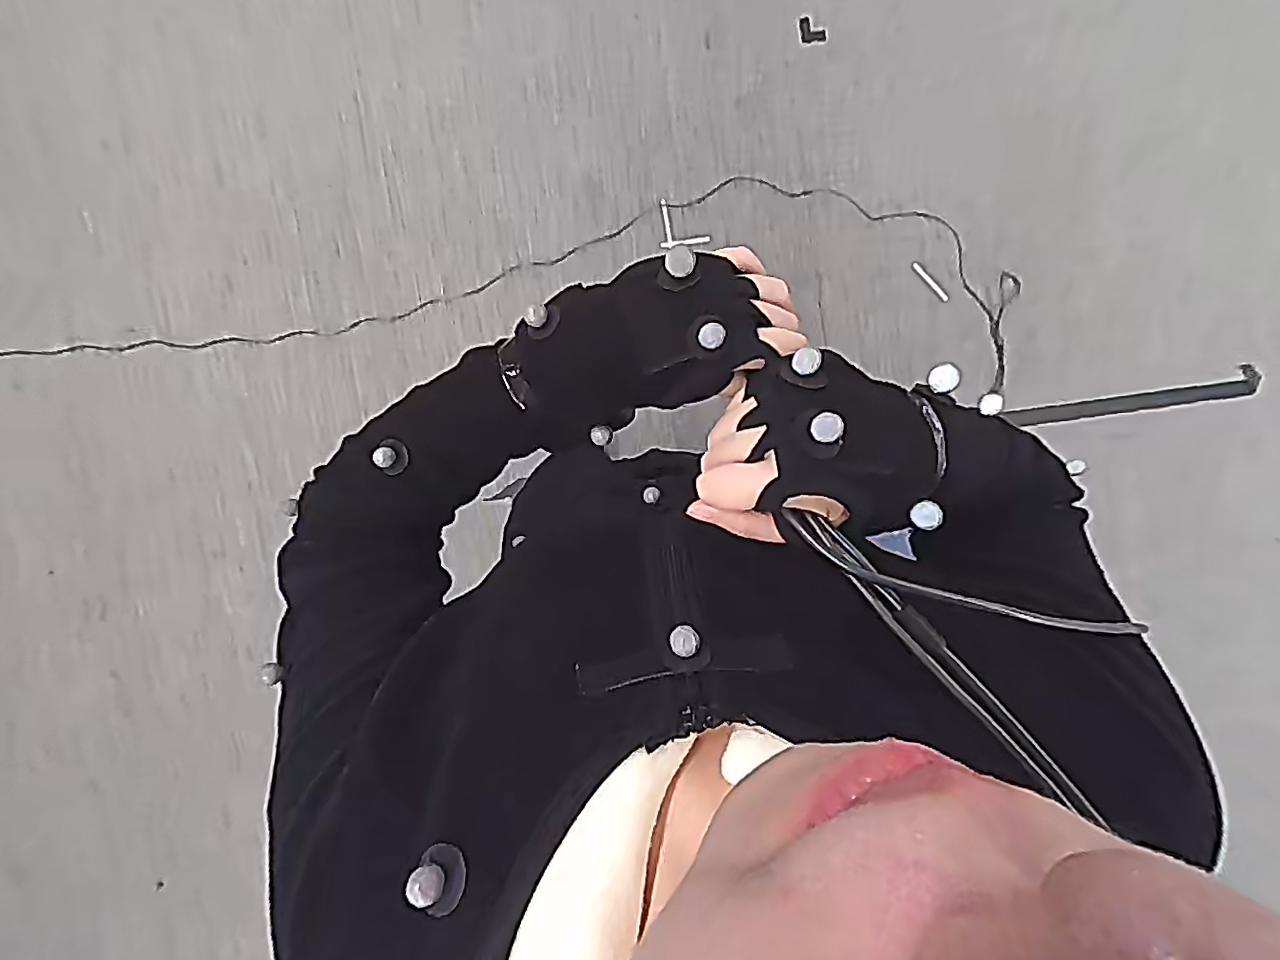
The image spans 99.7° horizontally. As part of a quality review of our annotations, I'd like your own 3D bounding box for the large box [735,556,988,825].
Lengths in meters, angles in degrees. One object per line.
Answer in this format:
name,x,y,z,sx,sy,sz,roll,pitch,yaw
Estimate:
large box,0.465,0.436,1.213,0.320,0.320,0.408,-27,95,-2
